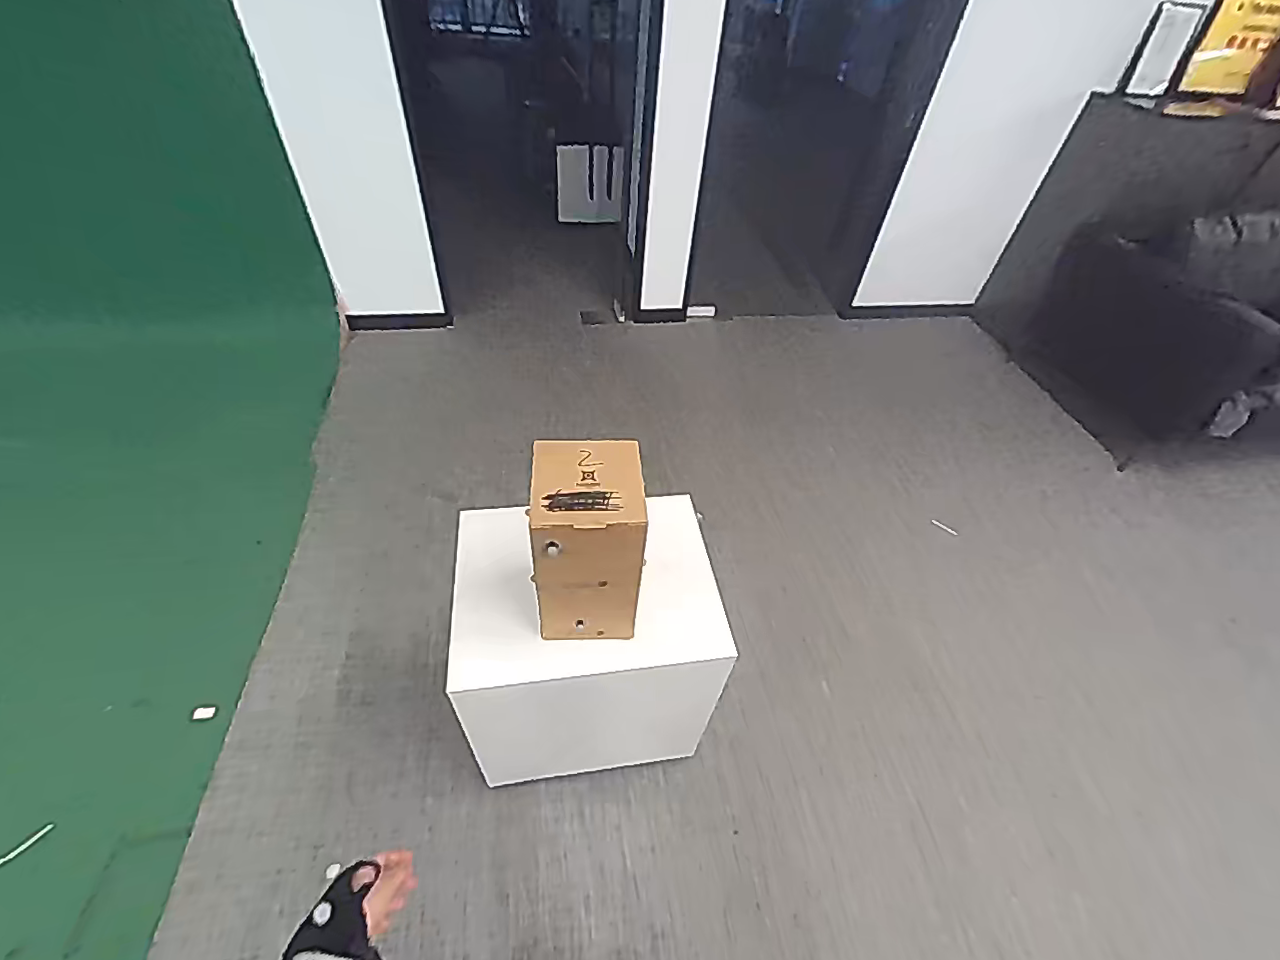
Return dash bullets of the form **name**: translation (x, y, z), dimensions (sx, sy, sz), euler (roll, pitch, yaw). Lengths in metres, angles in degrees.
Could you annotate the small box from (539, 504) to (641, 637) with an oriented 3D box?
- **small box**: translation (-0.091, 0.163, 0.973), dimensions (0.168, 0.176, 0.179), euler (1, 46, -5)
